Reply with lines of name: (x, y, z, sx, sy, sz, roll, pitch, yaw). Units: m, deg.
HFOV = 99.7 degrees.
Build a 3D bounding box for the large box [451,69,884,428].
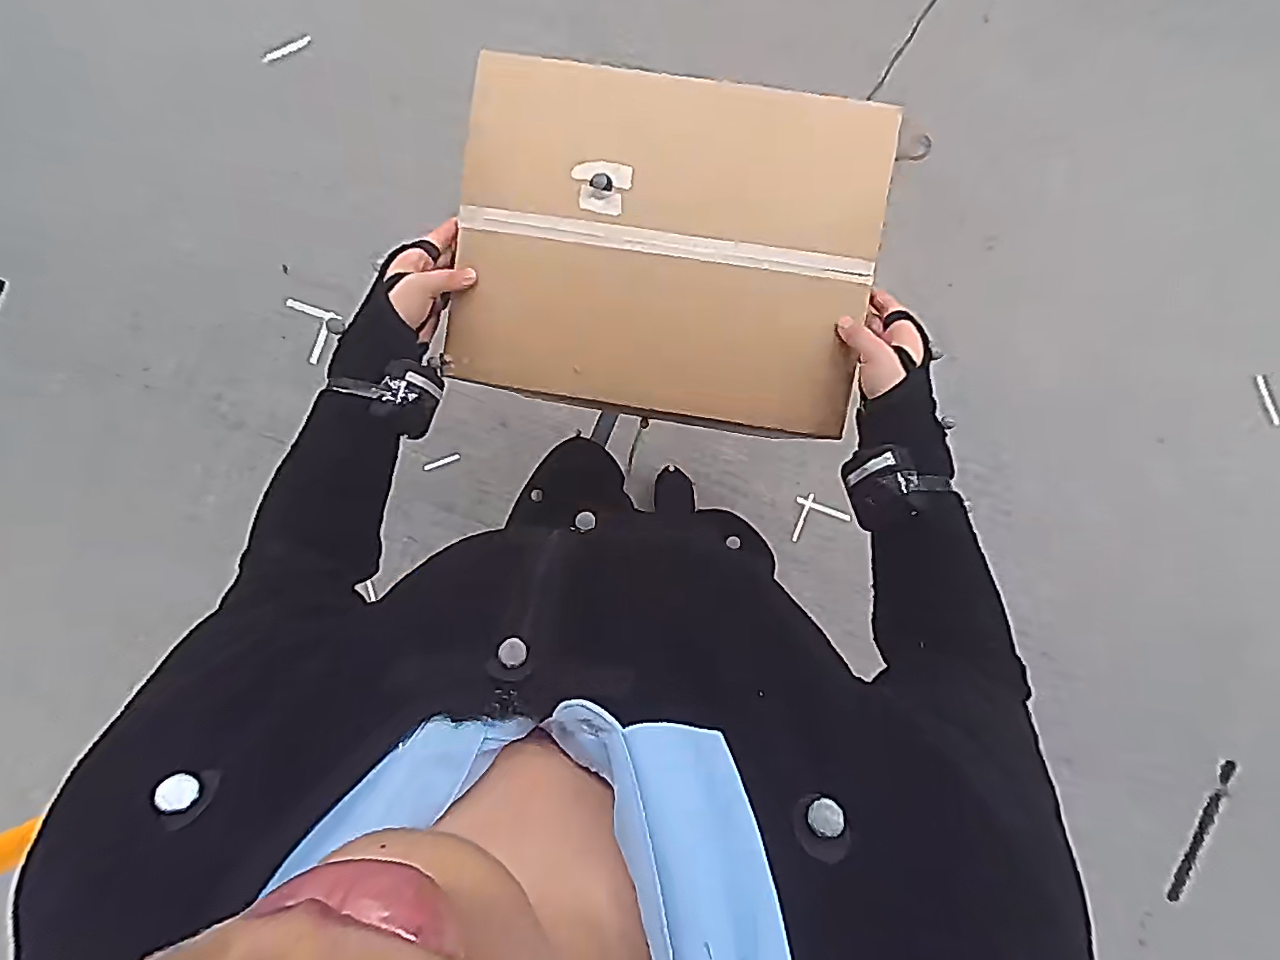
large box: (0.029, -0.242, 0.684, 0.408, 0.320, 0.320, 9, 94, 3)
